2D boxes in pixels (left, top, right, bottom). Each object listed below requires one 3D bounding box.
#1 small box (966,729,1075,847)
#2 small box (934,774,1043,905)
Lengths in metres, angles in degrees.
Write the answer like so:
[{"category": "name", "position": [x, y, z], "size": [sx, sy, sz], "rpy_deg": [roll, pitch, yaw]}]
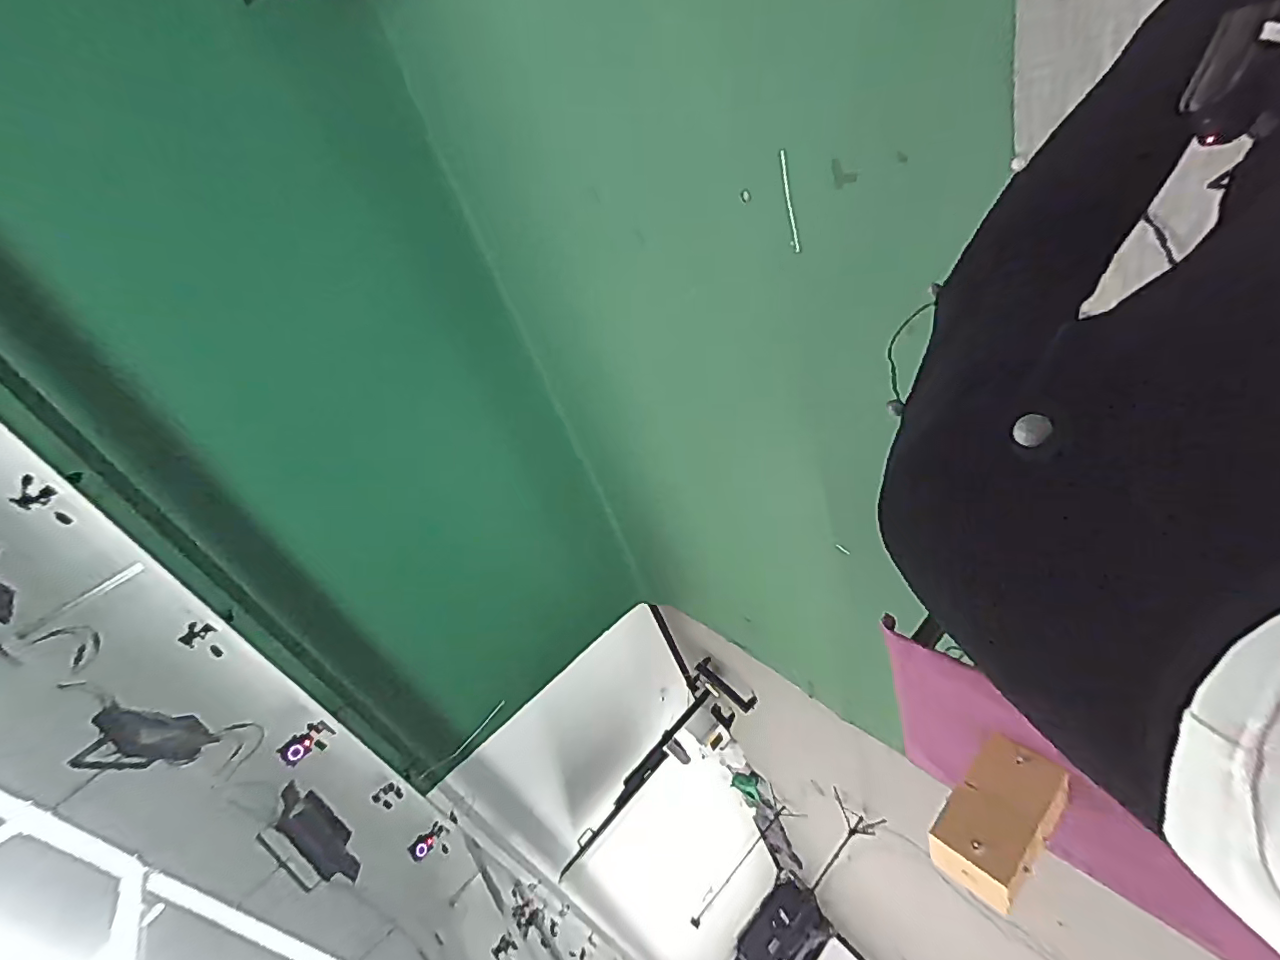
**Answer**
[{"category": "small box", "position": [0.966, 0.771, 1.378], "size": [0.179, 0.176, 0.168], "rpy_deg": [21, 143, 51]}, {"category": "small box", "position": [0.847, 0.865, 1.316], "size": [0.179, 0.176, 0.168], "rpy_deg": [22, 143, 49]}]
